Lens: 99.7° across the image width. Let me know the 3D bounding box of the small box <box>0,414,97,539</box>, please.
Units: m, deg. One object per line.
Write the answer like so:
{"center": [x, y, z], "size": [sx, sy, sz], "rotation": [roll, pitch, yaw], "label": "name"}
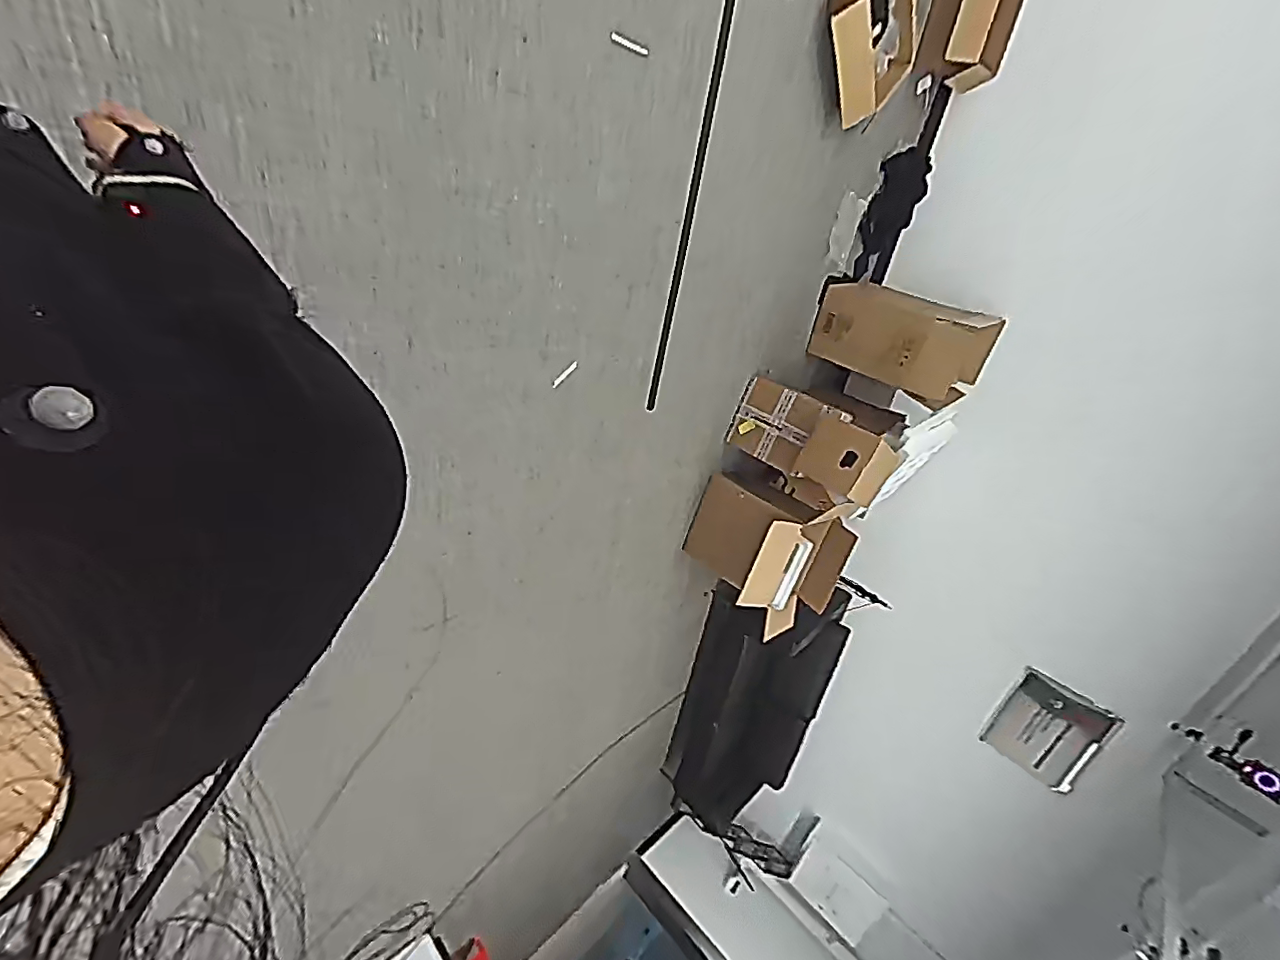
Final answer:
{"center": [-1.165, -0.015, 1.014], "size": [0.168, 0.176, 0.179], "rotation": [-17, 129, -42], "label": "small box"}
